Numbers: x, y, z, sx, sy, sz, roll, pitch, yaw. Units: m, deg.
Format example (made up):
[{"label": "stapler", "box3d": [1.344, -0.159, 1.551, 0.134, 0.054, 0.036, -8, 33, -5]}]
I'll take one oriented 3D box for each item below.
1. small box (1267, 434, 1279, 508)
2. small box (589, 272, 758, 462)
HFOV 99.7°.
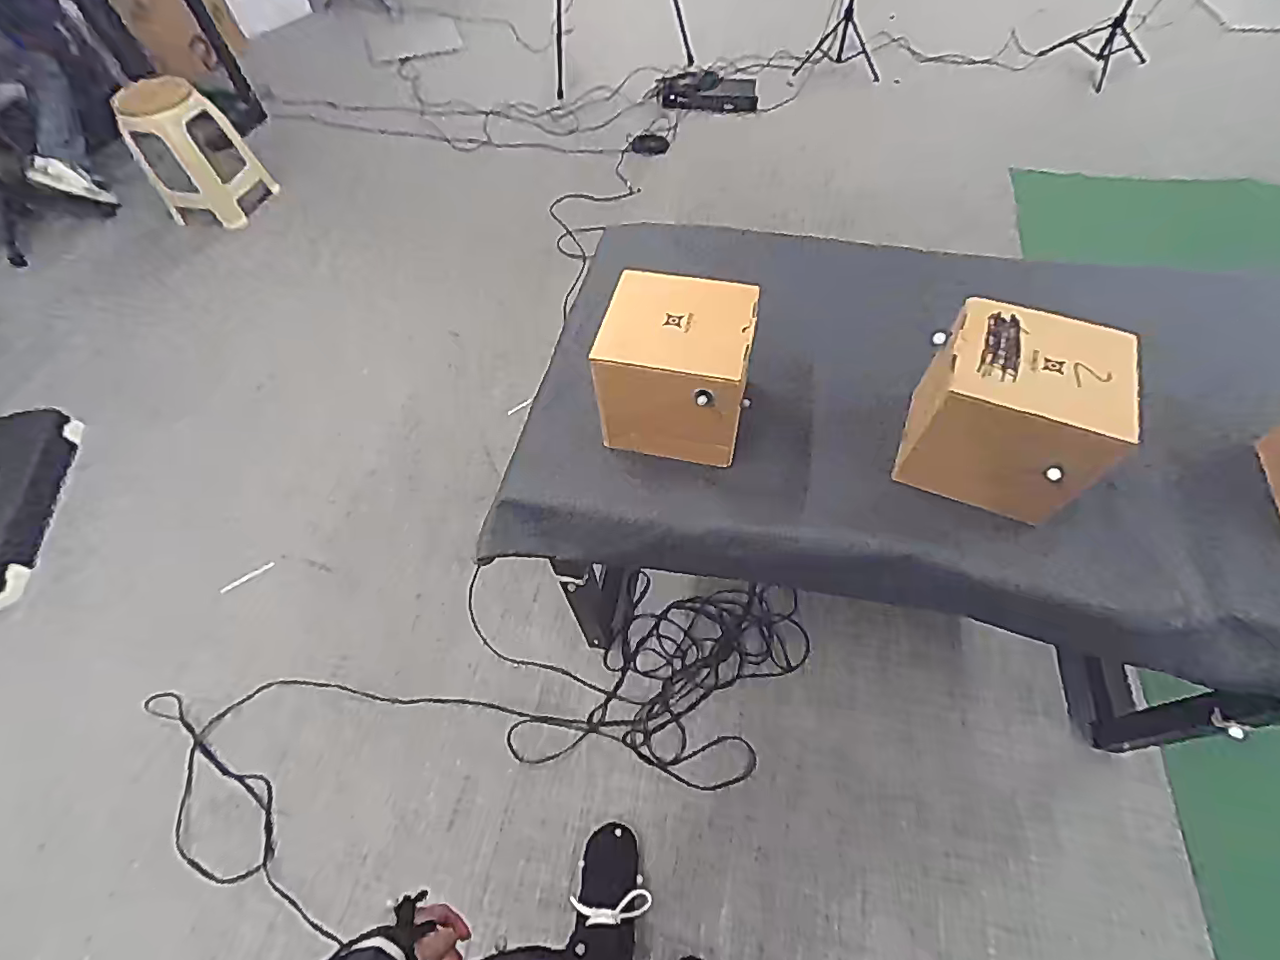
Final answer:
[{"label": "small box", "box3d": [0.842, -0.006, 0.573, 0.179, 0.176, 0.168, 13, 60, 11]}, {"label": "small box", "box3d": [0.047, -0.142, 0.705, 0.179, 0.176, 0.168, 10, 58, 9]}]
